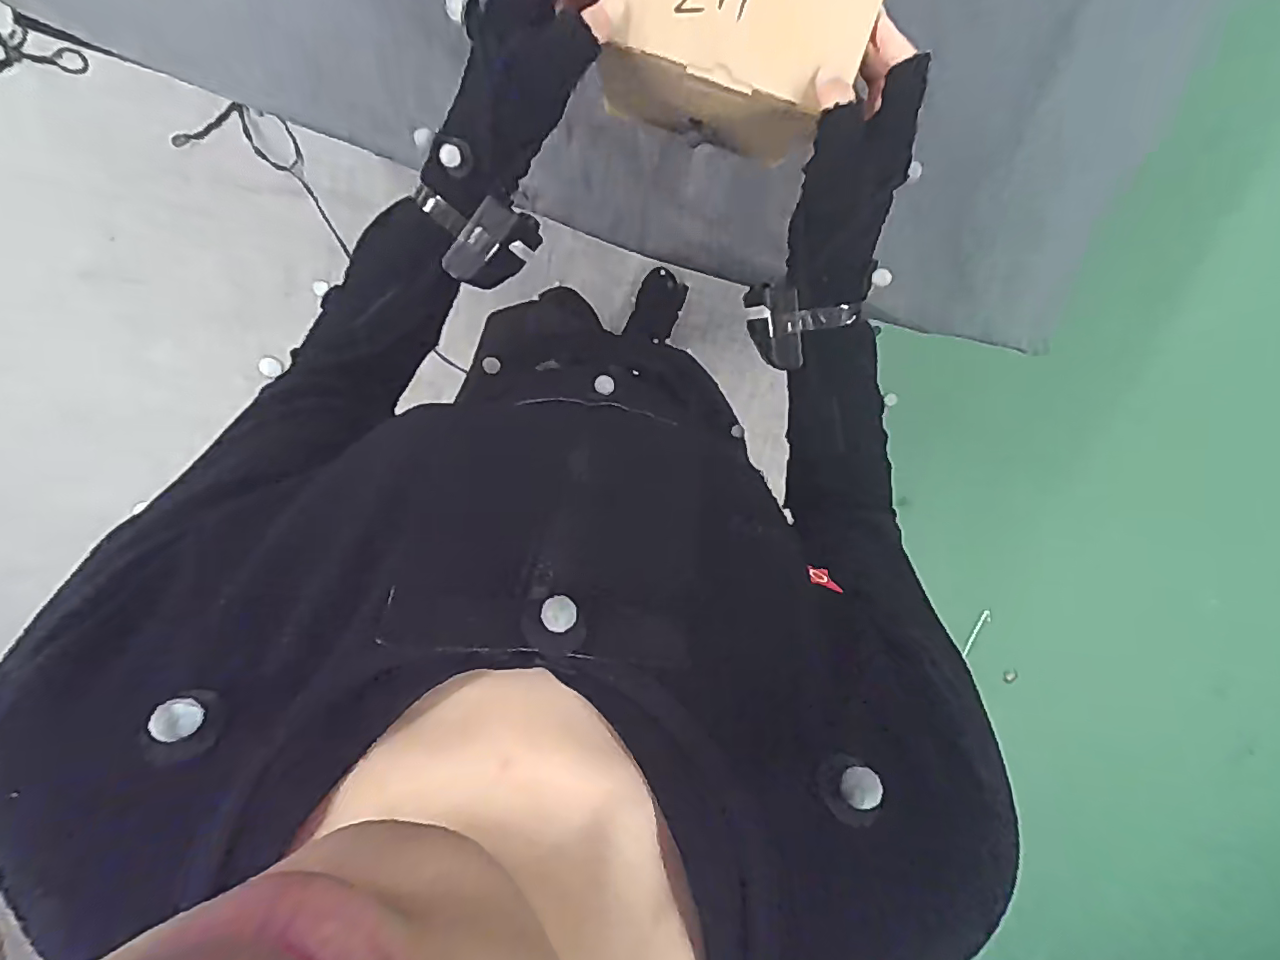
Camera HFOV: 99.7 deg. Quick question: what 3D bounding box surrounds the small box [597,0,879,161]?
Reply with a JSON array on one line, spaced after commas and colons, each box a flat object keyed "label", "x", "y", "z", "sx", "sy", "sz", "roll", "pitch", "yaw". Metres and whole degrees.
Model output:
[{"label": "small box", "x": 0.072, "y": -0.361, "z": 0.387, "sx": 0.168, "sy": 0.176, "sz": 0.179, "roll": 15, "pitch": 110, "yaw": -6}]

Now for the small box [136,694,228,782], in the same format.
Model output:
[{"label": "small box", "x": -1.492, "y": 0.837, "z": 1.769, "sx": 0.168, "sy": 0.176, "sz": 0.179, "roll": 20, "pitch": 112, "yaw": -4}]
